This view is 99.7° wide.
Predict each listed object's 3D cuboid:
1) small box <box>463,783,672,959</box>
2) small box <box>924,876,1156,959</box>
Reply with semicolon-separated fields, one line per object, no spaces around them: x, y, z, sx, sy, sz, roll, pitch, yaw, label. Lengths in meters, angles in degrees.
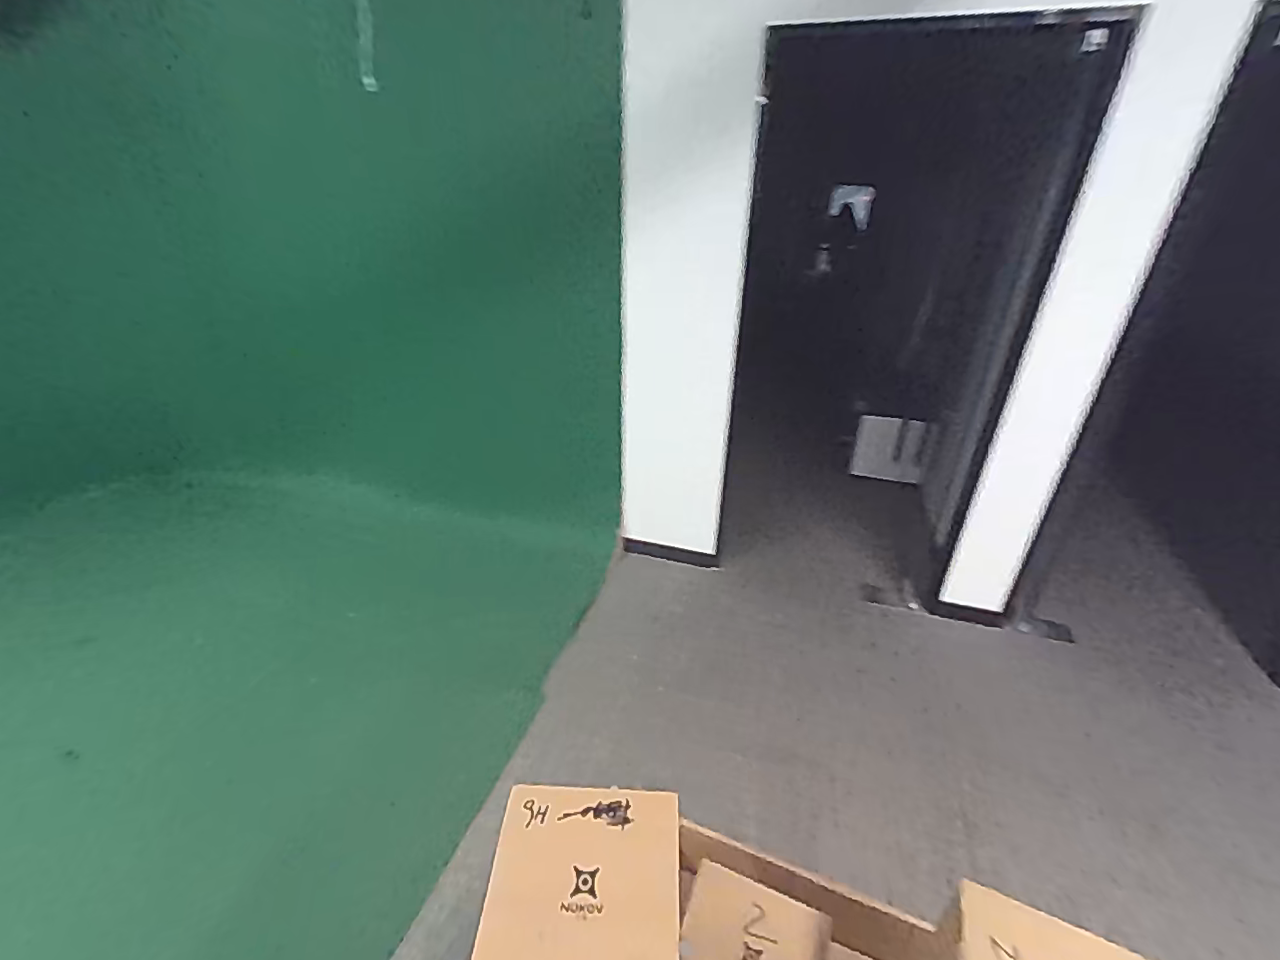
-0.054;0.415;0.507;0.168;0.176;0.179;1;37;2;small box
0.366;0.521;0.486;0.179;0.176;0.168;13;30;25;small box
